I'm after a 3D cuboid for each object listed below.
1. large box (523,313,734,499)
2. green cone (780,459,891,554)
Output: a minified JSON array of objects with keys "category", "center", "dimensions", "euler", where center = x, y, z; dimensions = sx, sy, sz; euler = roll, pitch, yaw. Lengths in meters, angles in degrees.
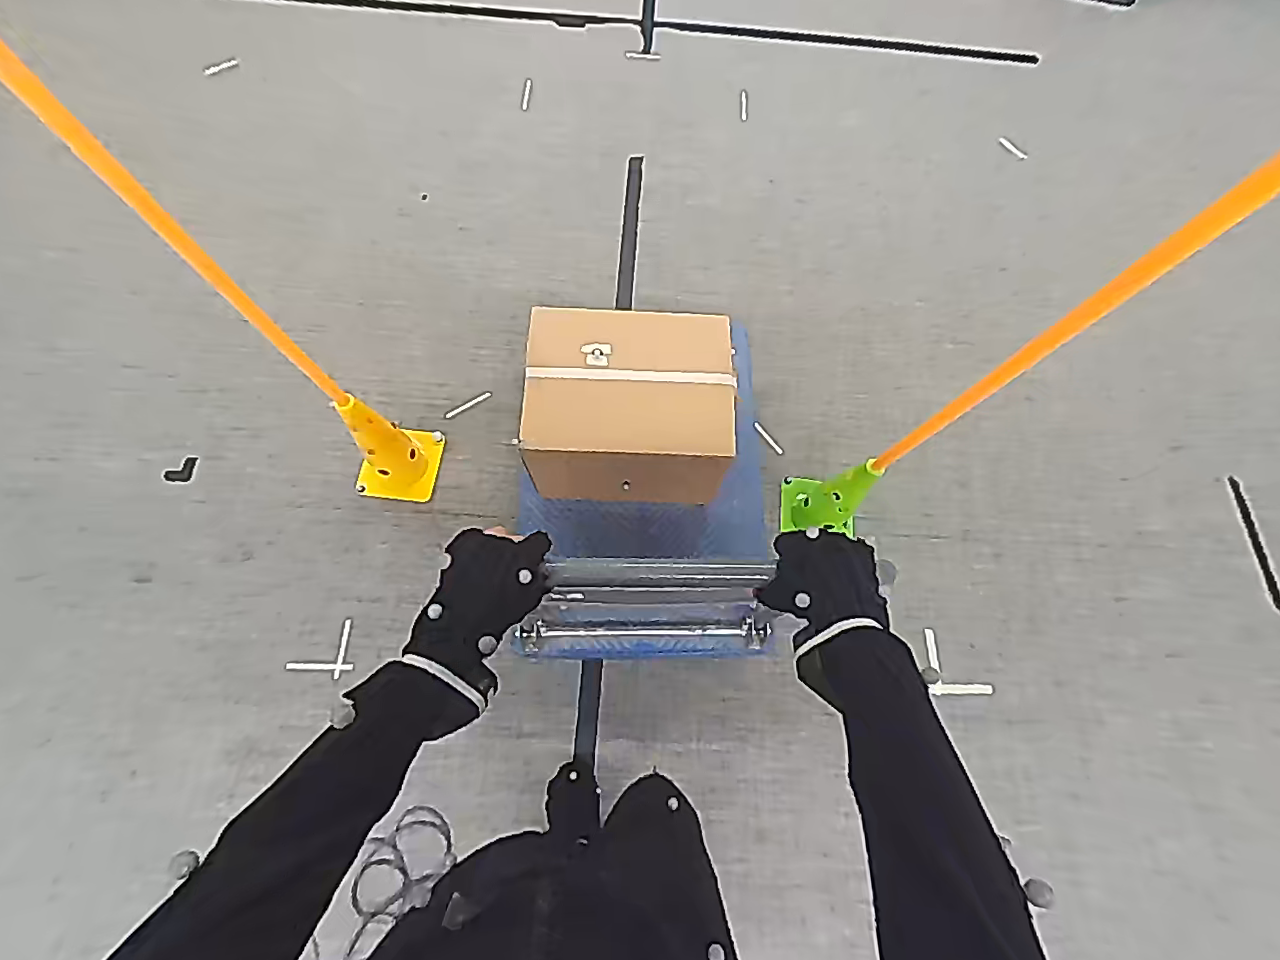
[{"category":"large box","center":[-0.022,-0.146,1.198],"dimensions":[0.408,0.320,0.320],"euler":[2,71,-1]},{"category":"green cone","center":[0.497,0.036,1.315],"dimensions":[0.202,0.368,0.200],"euler":[8,70,-2]}]
